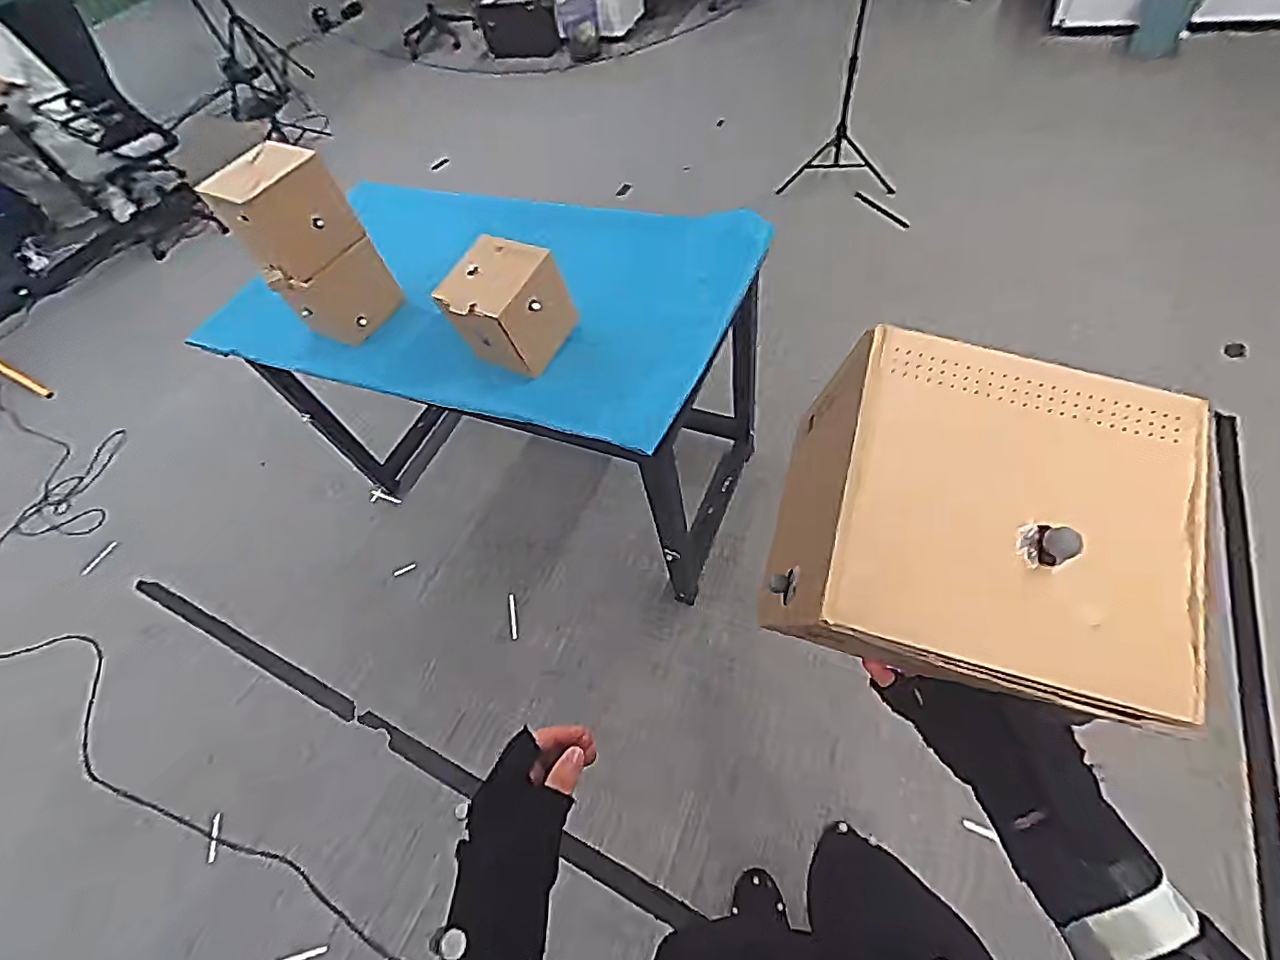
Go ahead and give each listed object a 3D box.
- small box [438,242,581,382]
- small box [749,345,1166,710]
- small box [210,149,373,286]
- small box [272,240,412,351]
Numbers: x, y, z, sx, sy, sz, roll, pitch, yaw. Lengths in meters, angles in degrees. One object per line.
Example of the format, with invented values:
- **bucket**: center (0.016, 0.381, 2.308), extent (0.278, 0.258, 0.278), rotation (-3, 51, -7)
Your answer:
- **small box**: center (-0.241, -0.325, 1.040), extent (0.168, 0.179, 0.176), rotation (24, 72, 23)
- **small box**: center (0.186, 0.032, 0.357), extent (0.179, 0.168, 0.176), rotation (14, 75, 4)
- **small box**: center (-0.687, -0.523, 1.071), extent (0.168, 0.176, 0.179), rotation (25, 66, 24)
- **small box**: center (-0.659, -0.422, 1.200), extent (0.168, 0.176, 0.179), rotation (21, 64, 22)
